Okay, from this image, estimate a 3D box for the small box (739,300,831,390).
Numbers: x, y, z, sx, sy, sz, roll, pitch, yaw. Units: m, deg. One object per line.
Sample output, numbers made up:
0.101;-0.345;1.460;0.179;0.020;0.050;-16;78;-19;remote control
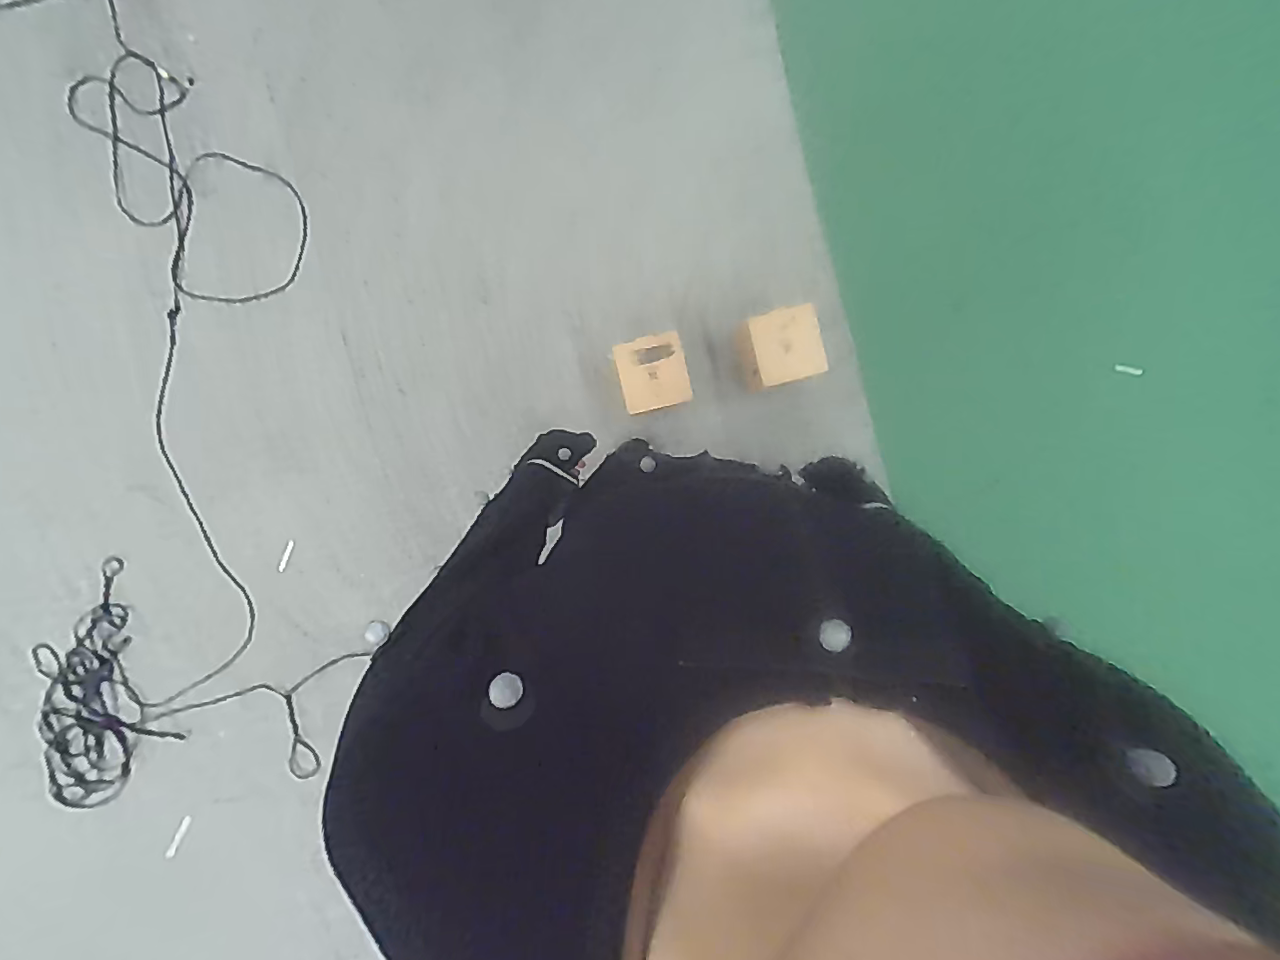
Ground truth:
0.361;-0.331;1.372;0.168;0.176;0.179;-15;93;1;small box
